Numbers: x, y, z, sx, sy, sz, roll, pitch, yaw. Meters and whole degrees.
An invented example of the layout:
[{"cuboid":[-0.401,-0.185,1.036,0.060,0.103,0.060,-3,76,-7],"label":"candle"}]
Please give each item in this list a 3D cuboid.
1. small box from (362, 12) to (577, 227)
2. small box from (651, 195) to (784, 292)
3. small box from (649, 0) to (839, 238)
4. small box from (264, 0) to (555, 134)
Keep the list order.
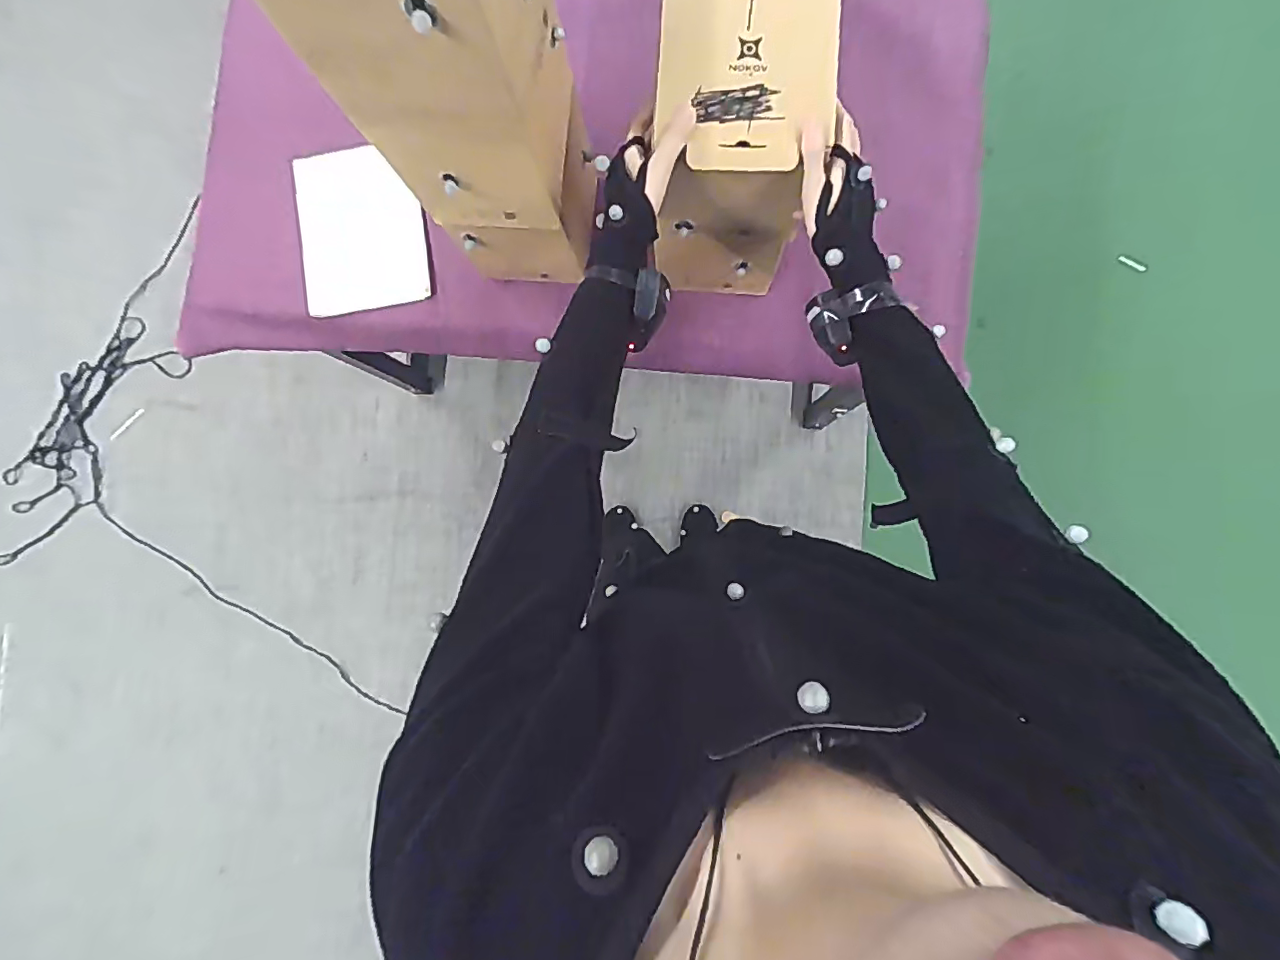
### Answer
[{"cuboid":[-0.171,-0.405,0.596,0.168,0.176,0.179,6,85,5],"label":"small box"},{"cuboid":[0.109,-0.375,0.740,0.168,0.176,0.179,5,85,4],"label":"small box"},{"cuboid":[0.102,-0.382,0.577,0.168,0.176,0.179,4,86,4],"label":"small box"},{"cuboid":[-0.175,-0.413,0.431,0.179,0.176,0.168,8,85,5],"label":"small box"}]
